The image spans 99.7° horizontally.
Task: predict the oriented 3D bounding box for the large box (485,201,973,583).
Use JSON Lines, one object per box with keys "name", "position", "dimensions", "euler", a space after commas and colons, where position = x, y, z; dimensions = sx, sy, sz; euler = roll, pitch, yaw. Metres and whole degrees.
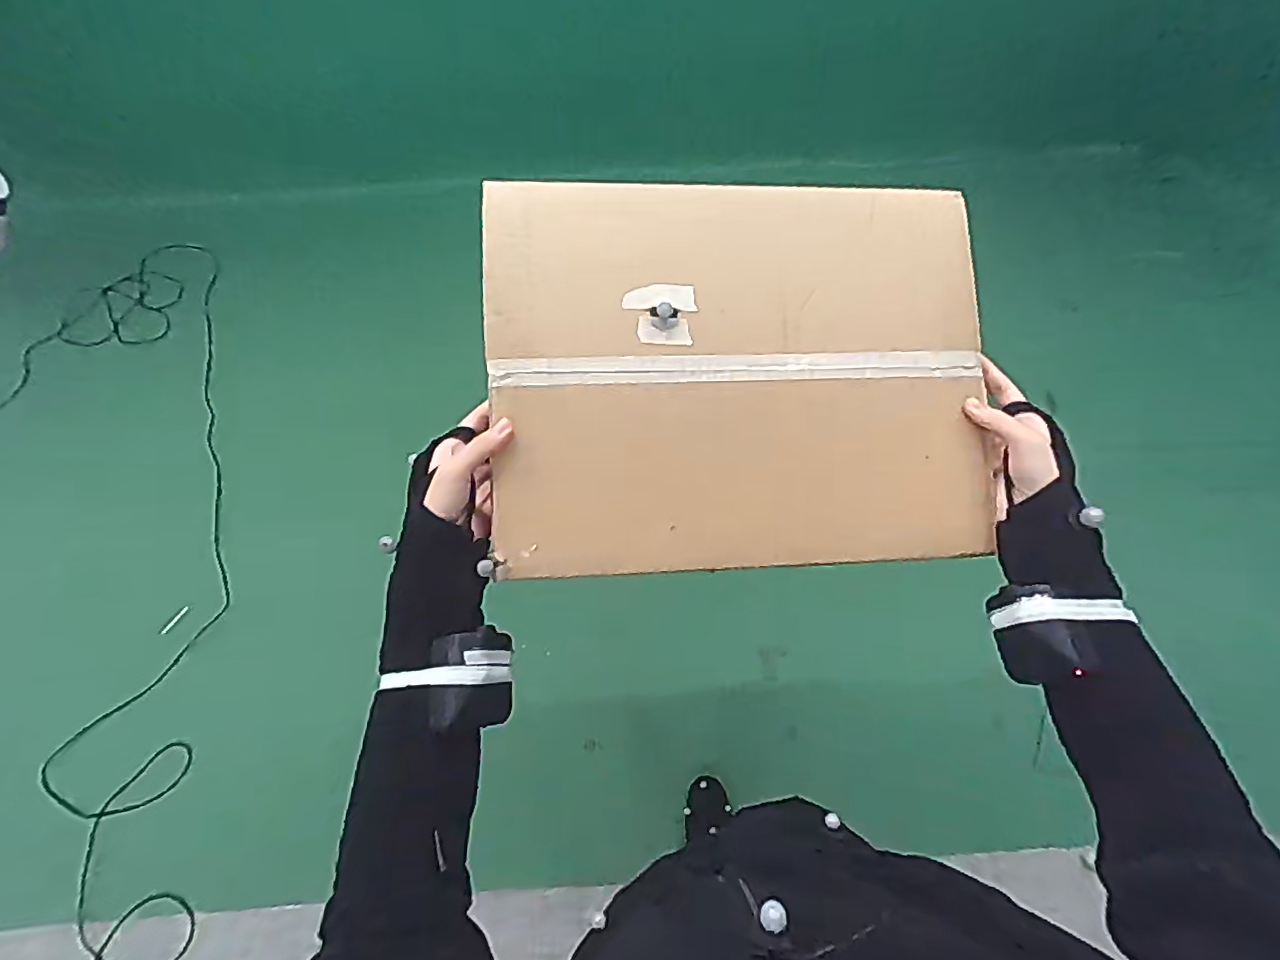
{"name": "large box", "position": [0.069, -0.073, 0.599], "dimensions": [0.408, 0.320, 0.320], "euler": [-3, 86, -4]}
